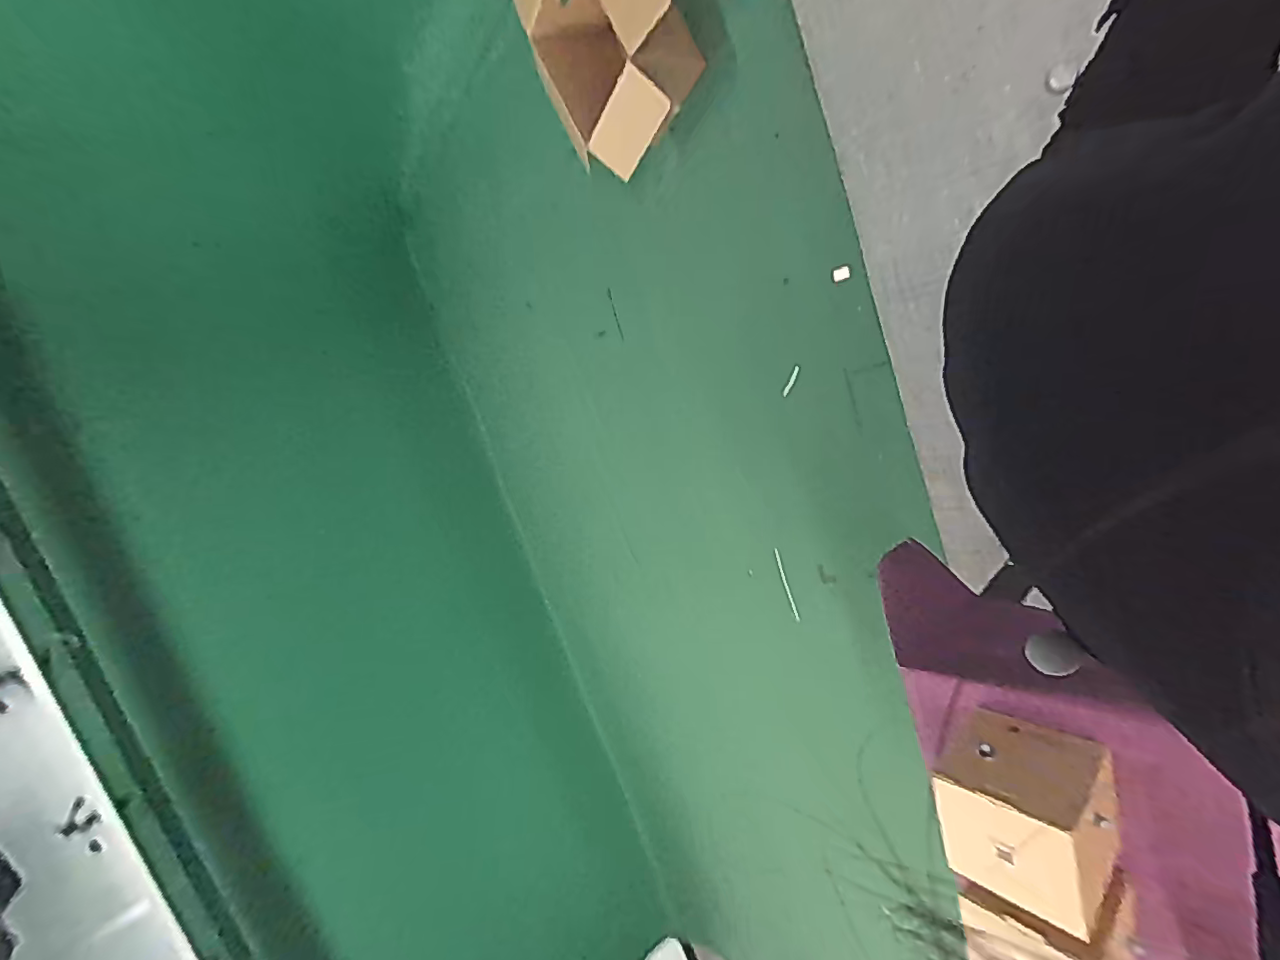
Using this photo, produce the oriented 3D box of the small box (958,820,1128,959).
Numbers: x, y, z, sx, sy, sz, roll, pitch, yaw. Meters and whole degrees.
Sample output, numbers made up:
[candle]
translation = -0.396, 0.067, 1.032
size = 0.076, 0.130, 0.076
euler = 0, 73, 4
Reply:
[small box]
translation = 0.602, 0.664, 0.808
size = 0.168, 0.176, 0.179
euler = 4, 113, 52
